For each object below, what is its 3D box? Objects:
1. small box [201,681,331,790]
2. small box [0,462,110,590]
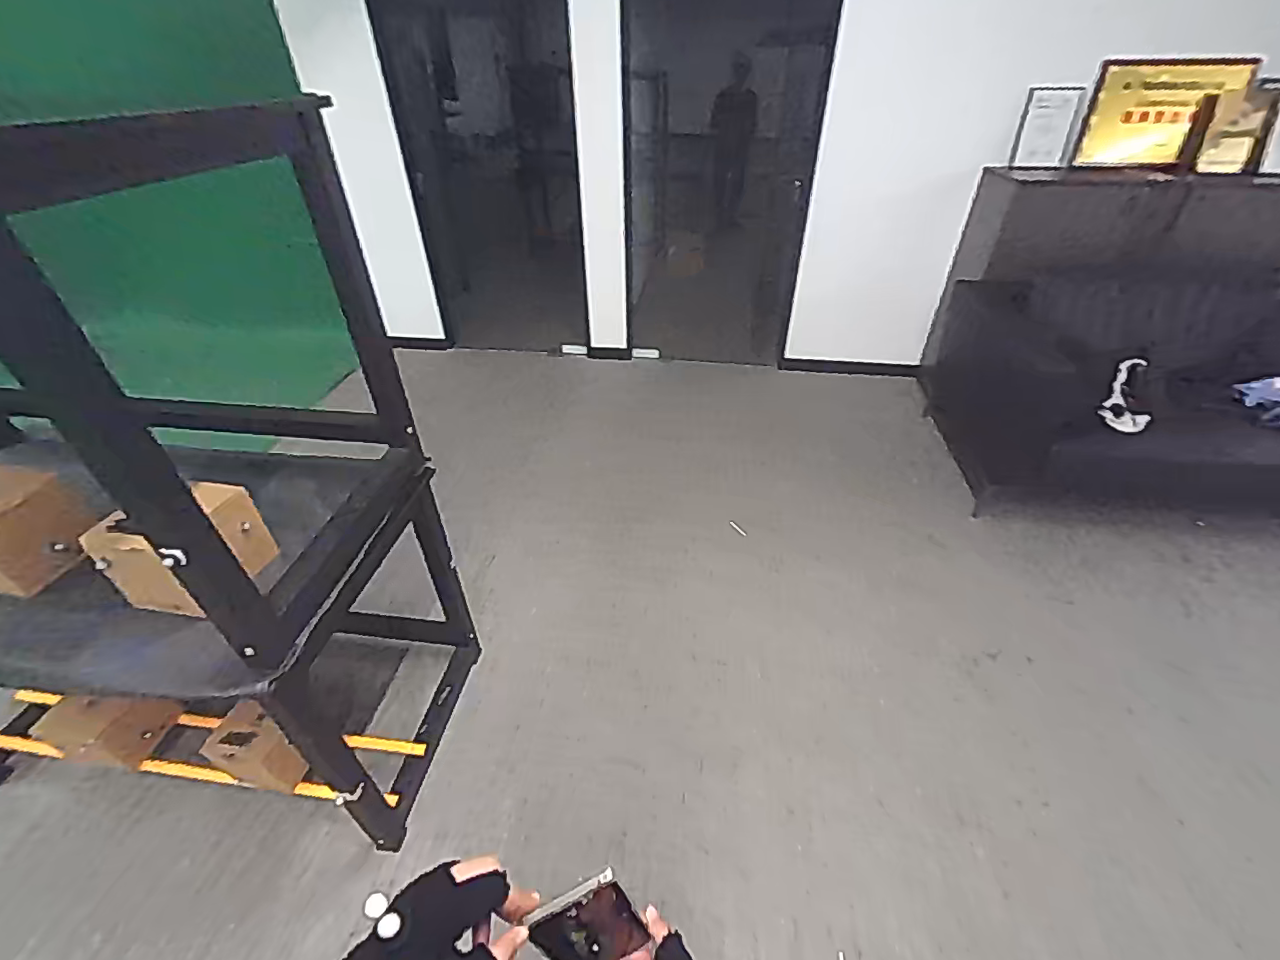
[{"bbox_3d":[-0.903,0.630,1.329,0.168,0.176,0.179,7,39,9],"label":"small box"},{"bbox_3d":[-1.184,0.086,1.015,0.179,0.176,0.168,6,39,9],"label":"small box"}]
